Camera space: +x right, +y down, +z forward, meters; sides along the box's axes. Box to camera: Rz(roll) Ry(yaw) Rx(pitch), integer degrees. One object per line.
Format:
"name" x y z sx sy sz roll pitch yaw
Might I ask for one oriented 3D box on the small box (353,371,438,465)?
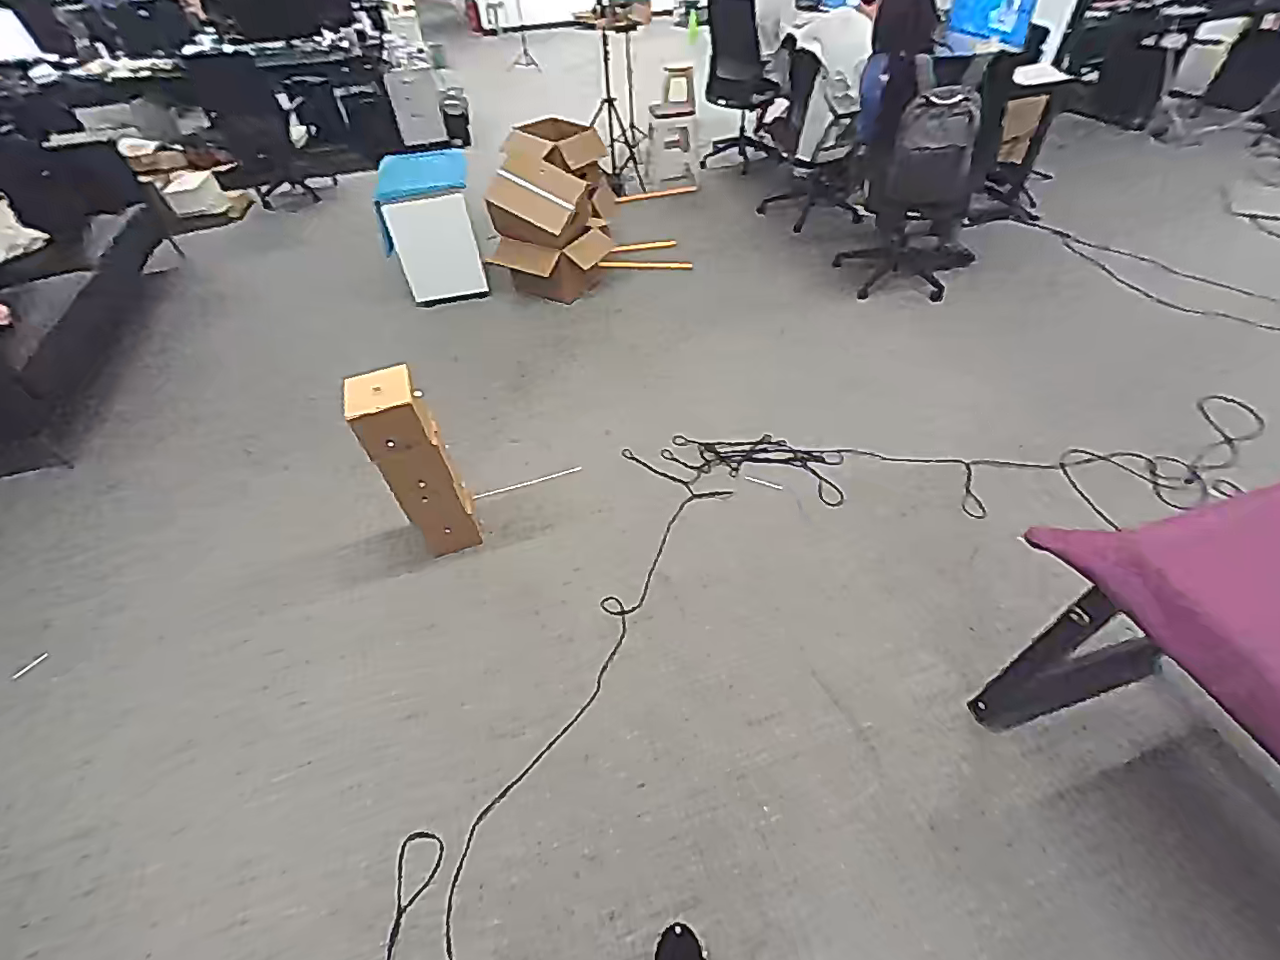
"small box" -0.674 -0.170 1.496 0.168 0.176 0.179 -18 50 -11

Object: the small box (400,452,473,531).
"small box" -0.657 0.039 1.747 0.179 0.176 0.168 -16 49 -10

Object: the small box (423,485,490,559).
"small box" -0.636 0.149 1.867 0.179 0.176 0.168 -16 48 -10

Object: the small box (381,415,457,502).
"small box" -0.659 -0.063 1.618 0.179 0.176 0.168 -17 48 -11
